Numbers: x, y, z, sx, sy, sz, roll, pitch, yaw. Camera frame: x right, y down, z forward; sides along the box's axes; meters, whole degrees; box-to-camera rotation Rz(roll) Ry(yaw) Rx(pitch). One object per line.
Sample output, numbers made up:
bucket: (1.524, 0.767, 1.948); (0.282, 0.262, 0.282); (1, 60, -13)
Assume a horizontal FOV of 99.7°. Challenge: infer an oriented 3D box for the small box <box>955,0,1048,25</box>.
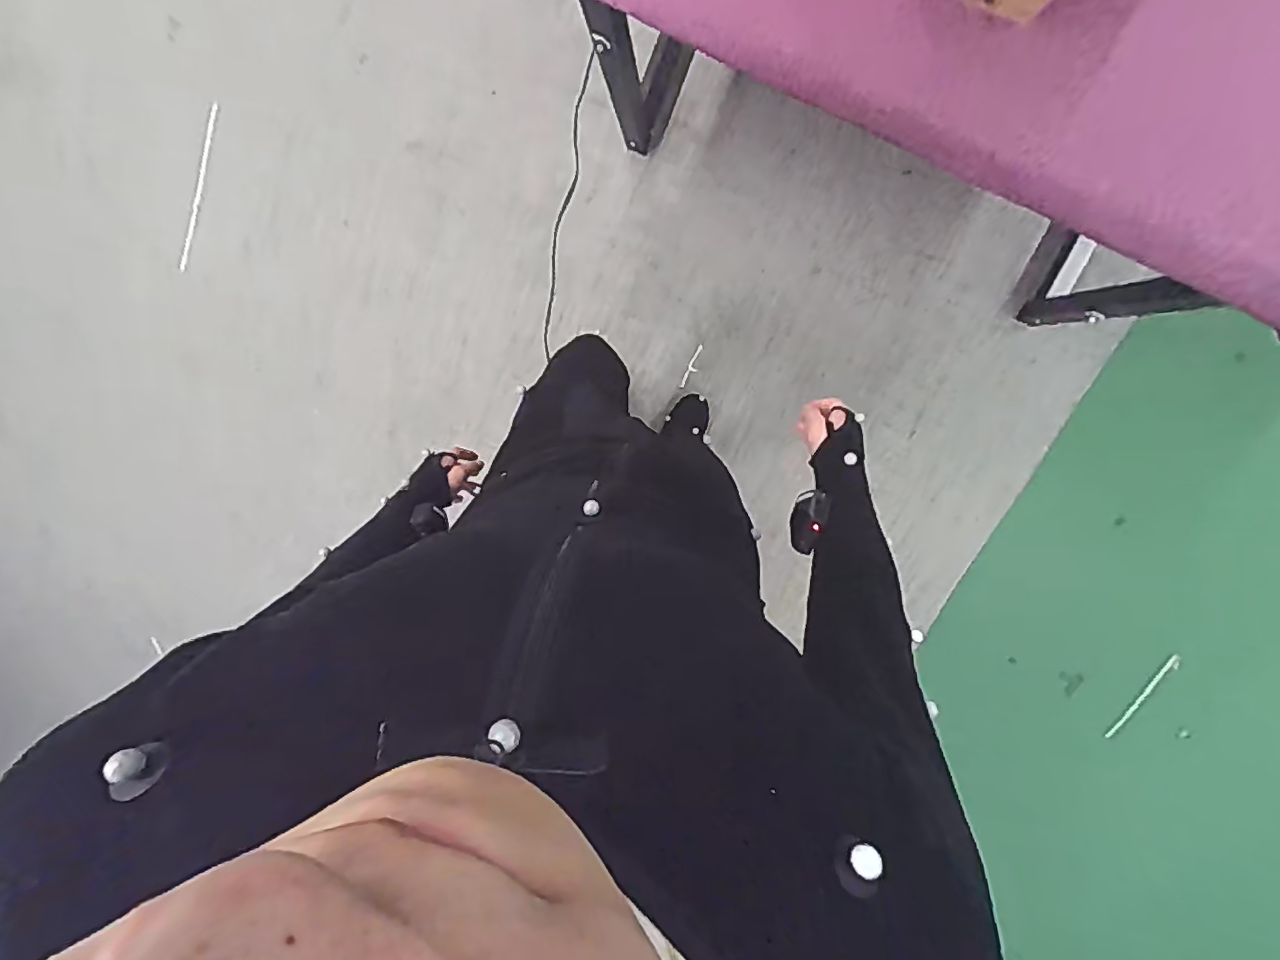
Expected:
small box: (0.447, -0.677, 0.603); (0.168, 0.176, 0.179); (23, 103, 1)
